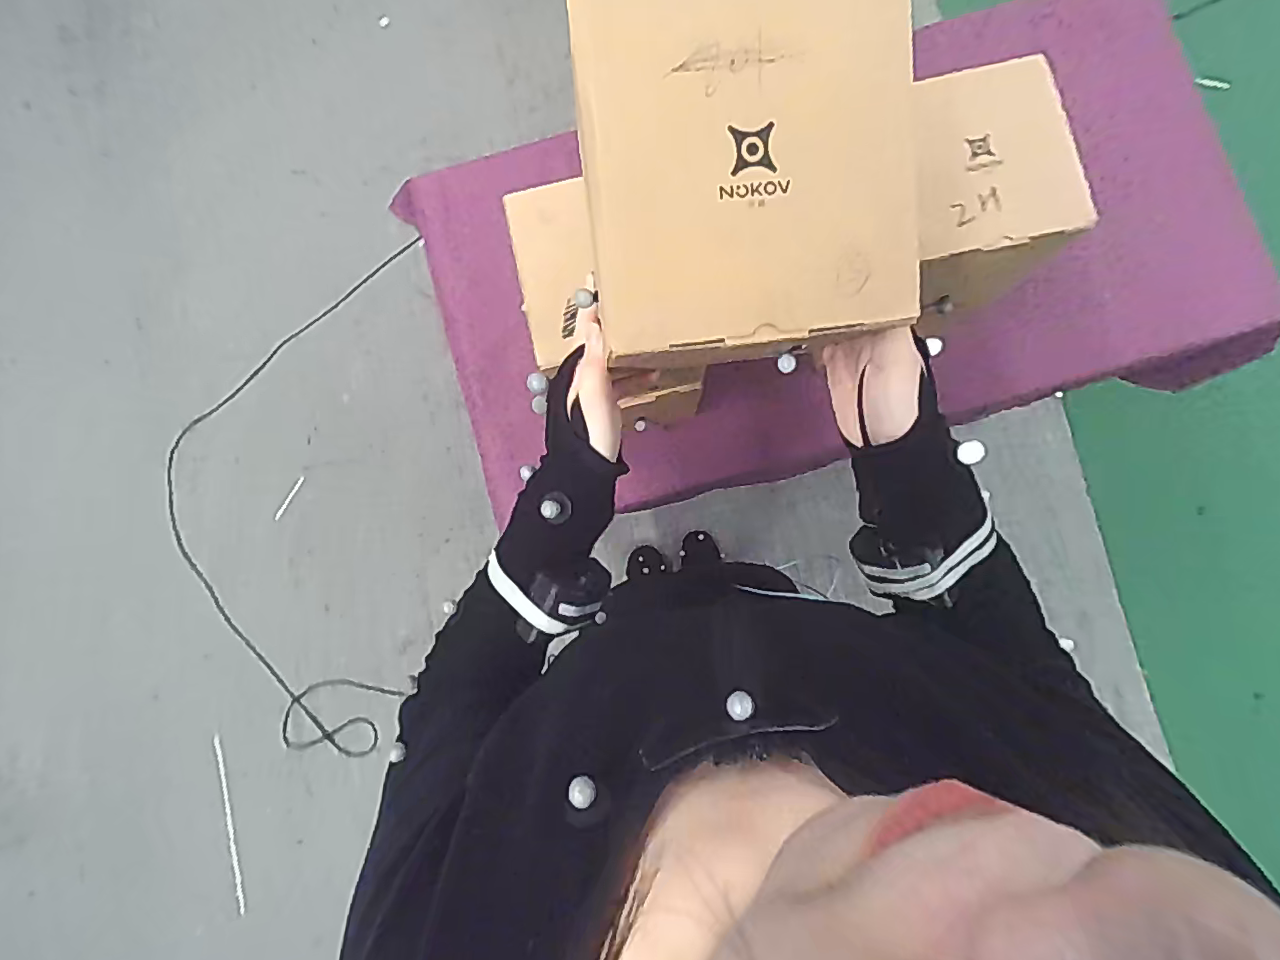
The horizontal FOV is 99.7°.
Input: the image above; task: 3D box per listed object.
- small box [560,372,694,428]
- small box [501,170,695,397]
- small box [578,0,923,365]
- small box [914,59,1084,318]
[{"bbox_3d":[-0.027,-0.175,0.740,0.168,0.176,0.179,-13,85,0],"label":"small box"},{"bbox_3d":[-0.032,-0.197,0.577,0.168,0.176,0.179,-12,84,0],"label":"small box"},{"bbox_3d":[0.053,-0.167,0.345,0.168,0.176,0.179,-5,100,-4],"label":"small box"},{"bbox_3d":[0.306,-0.286,0.574,0.168,0.176,0.179,-11,85,1],"label":"small box"}]
